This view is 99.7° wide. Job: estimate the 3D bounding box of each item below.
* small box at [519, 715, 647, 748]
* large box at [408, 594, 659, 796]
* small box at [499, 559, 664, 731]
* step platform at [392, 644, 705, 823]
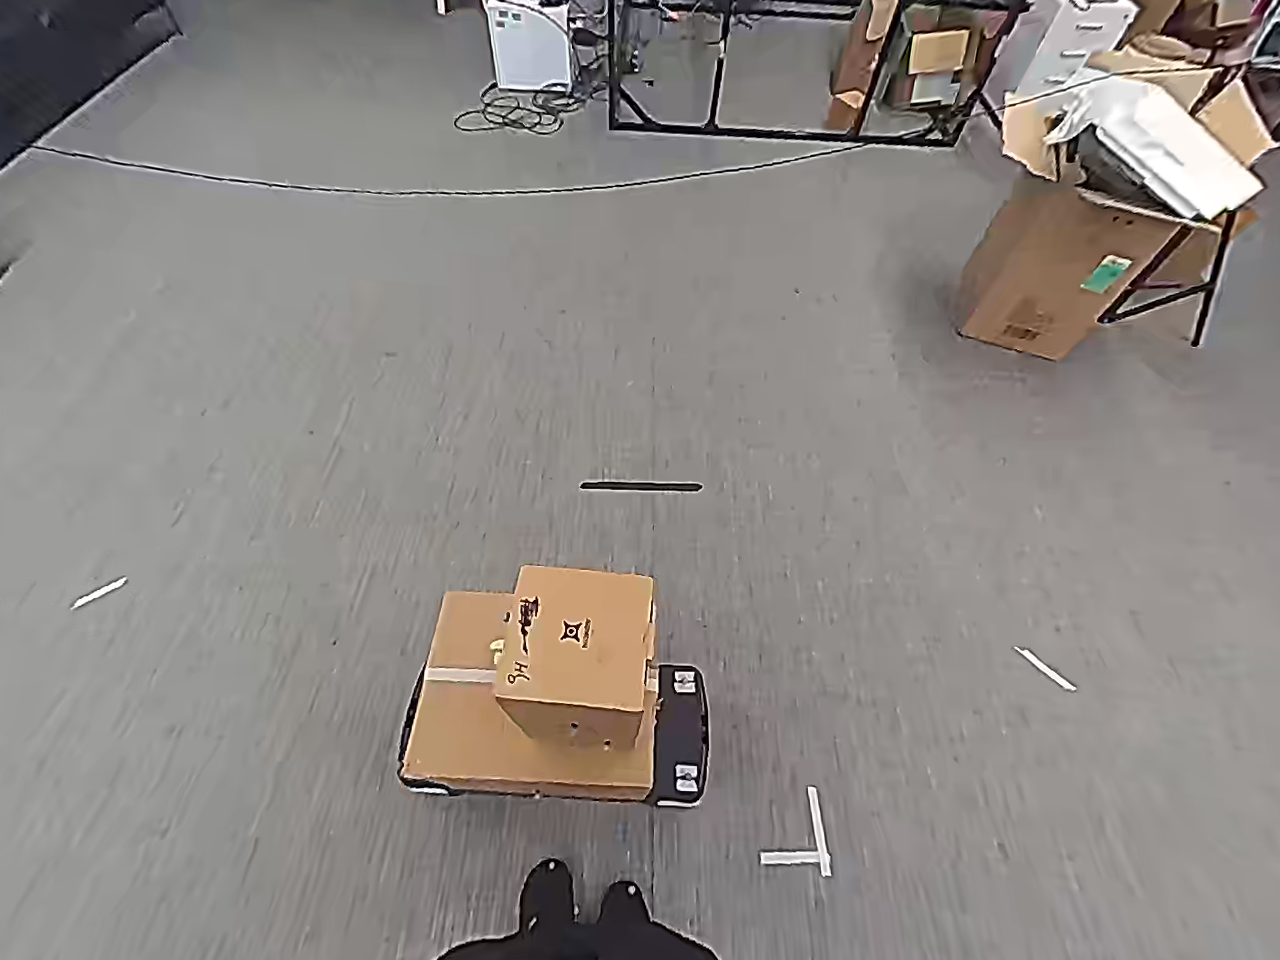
[{"bbox_3d":[-0.074,0.313,0.848,0.179,0.176,0.168,6,56,2],"label":"small box"},{"bbox_3d":[-0.167,0.430,1.060,0.408,0.320,0.320,3,55,1],"label":"large box"},{"bbox_3d":[-0.068,0.222,0.711,0.179,0.176,0.168,6,55,1],"label":"small box"},{"bbox_3d":[-0.193,0.575,1.248,0.684,0.204,0.286,7,56,3],"label":"step platform"}]
